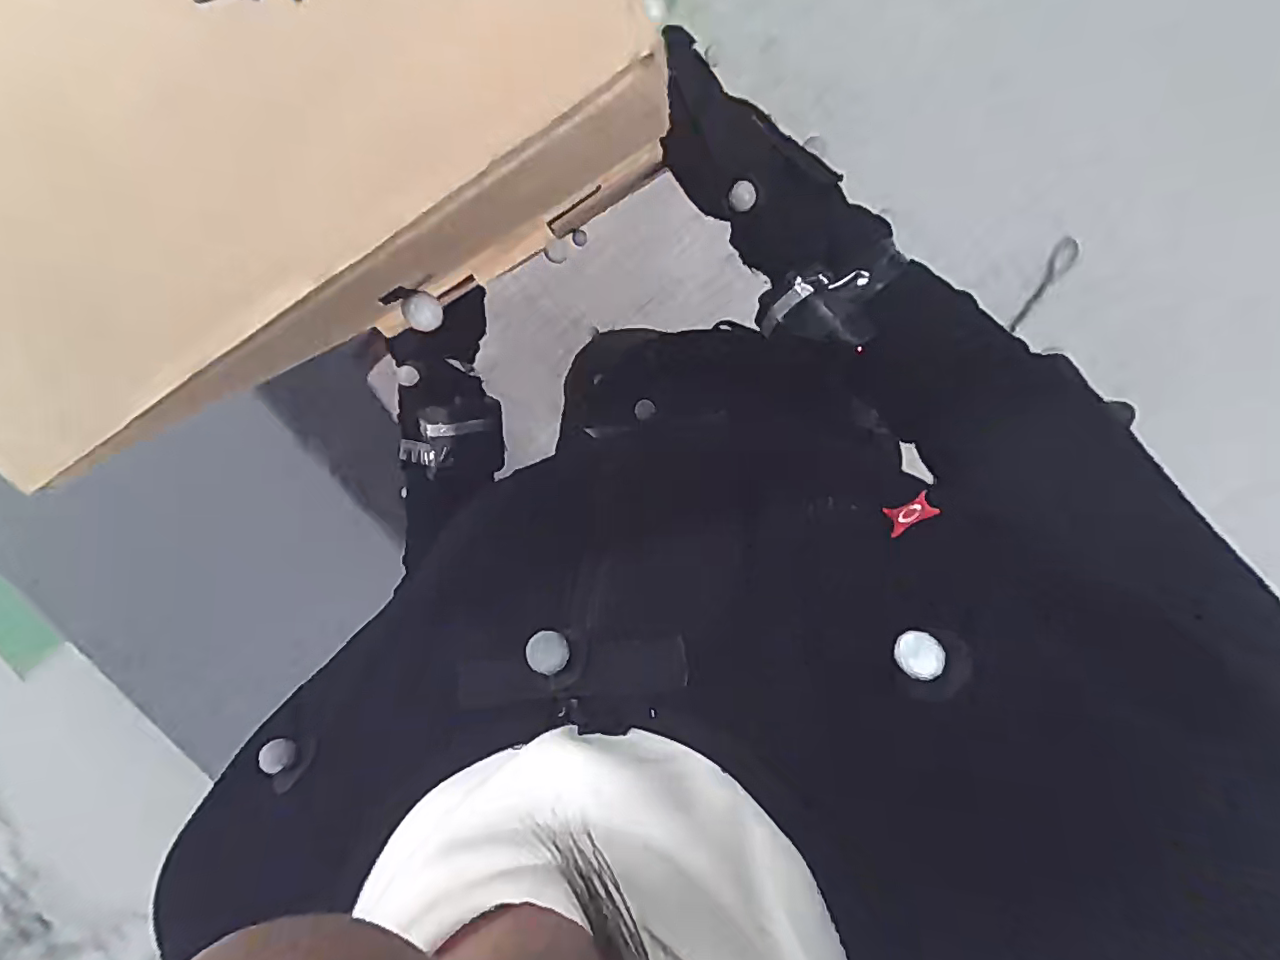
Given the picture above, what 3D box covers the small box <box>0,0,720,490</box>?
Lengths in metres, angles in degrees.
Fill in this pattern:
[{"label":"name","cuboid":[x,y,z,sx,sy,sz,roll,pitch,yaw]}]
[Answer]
[{"label":"small box","cuboid":[-0.100,-0.134,0.140,0.179,0.176,0.168,-27,115,16]}]
